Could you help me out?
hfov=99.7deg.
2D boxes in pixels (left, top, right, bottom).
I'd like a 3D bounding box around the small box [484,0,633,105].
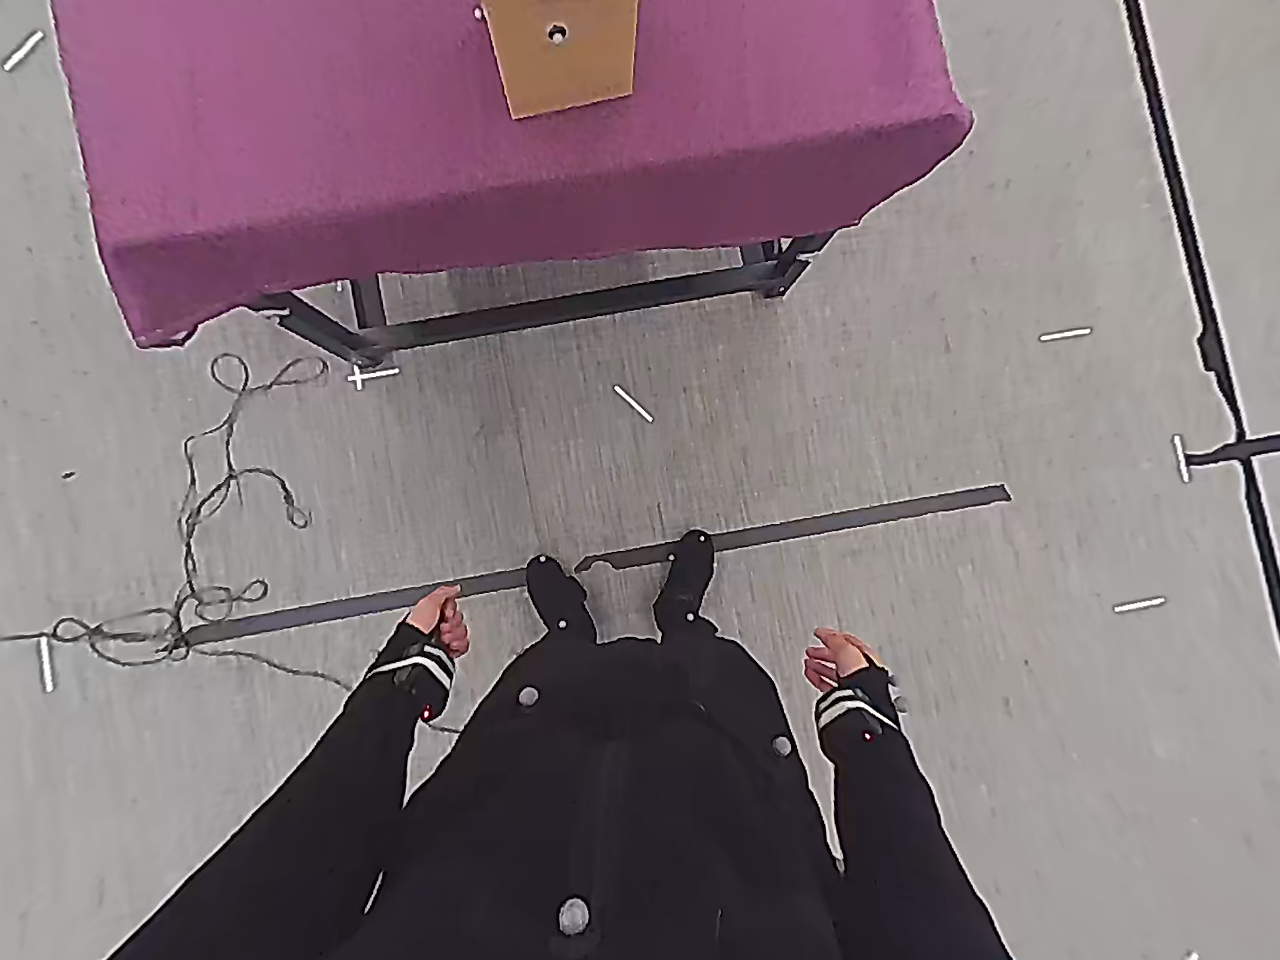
[{"bbox_3d":[-0.108,-0.613,0.677,0.179,0.176,0.168,-15,88,-4],"label":"small box"}]
